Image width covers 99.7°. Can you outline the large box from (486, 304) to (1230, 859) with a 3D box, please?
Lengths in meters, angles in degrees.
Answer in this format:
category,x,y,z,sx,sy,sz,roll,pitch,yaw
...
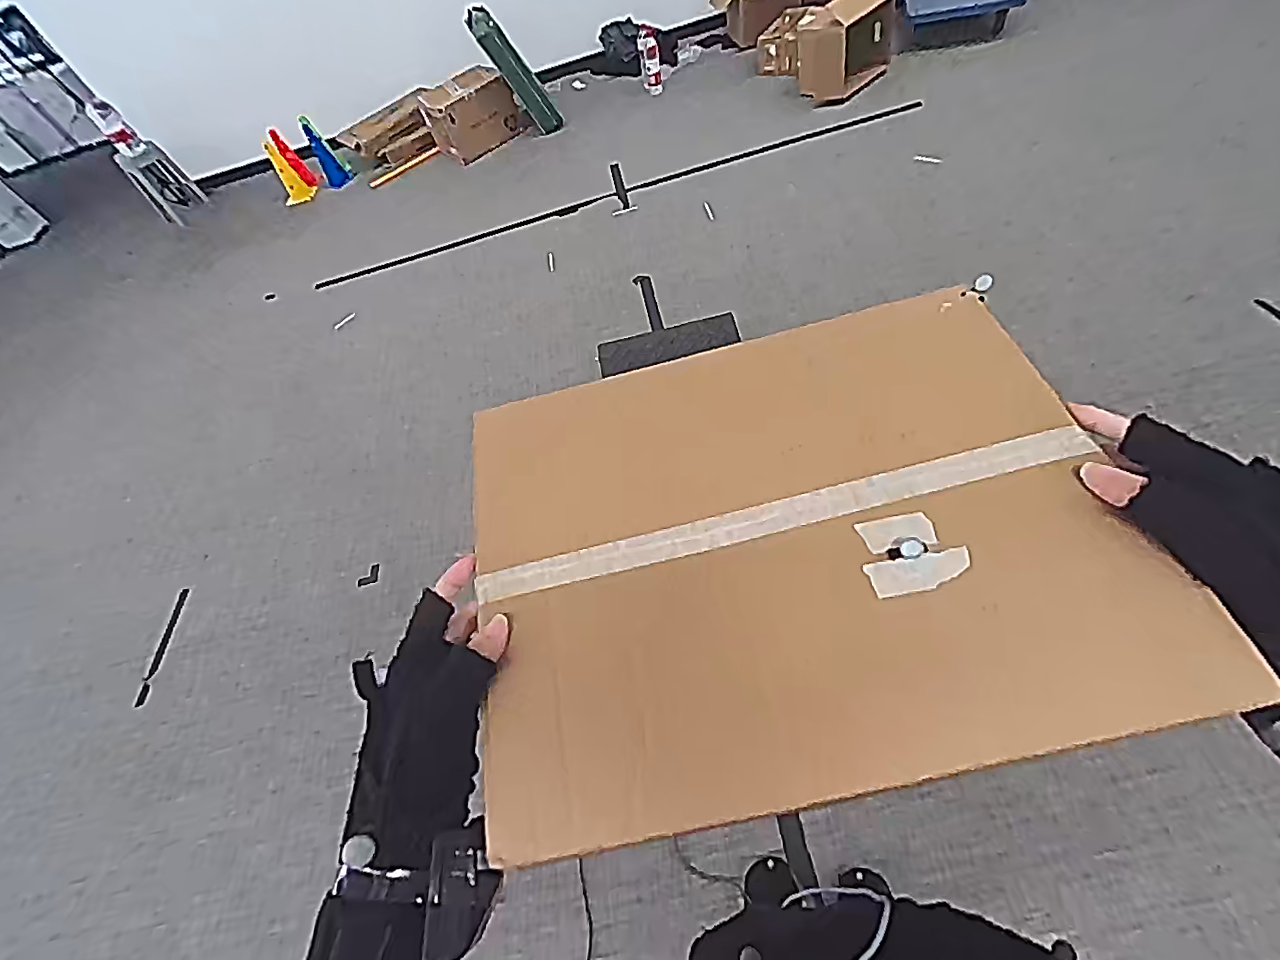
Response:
category,x,y,z,sx,sy,sz,roll,pitch,yaw
large box,0.114,0.107,0.493,0.408,0.320,0.320,-14,59,2
